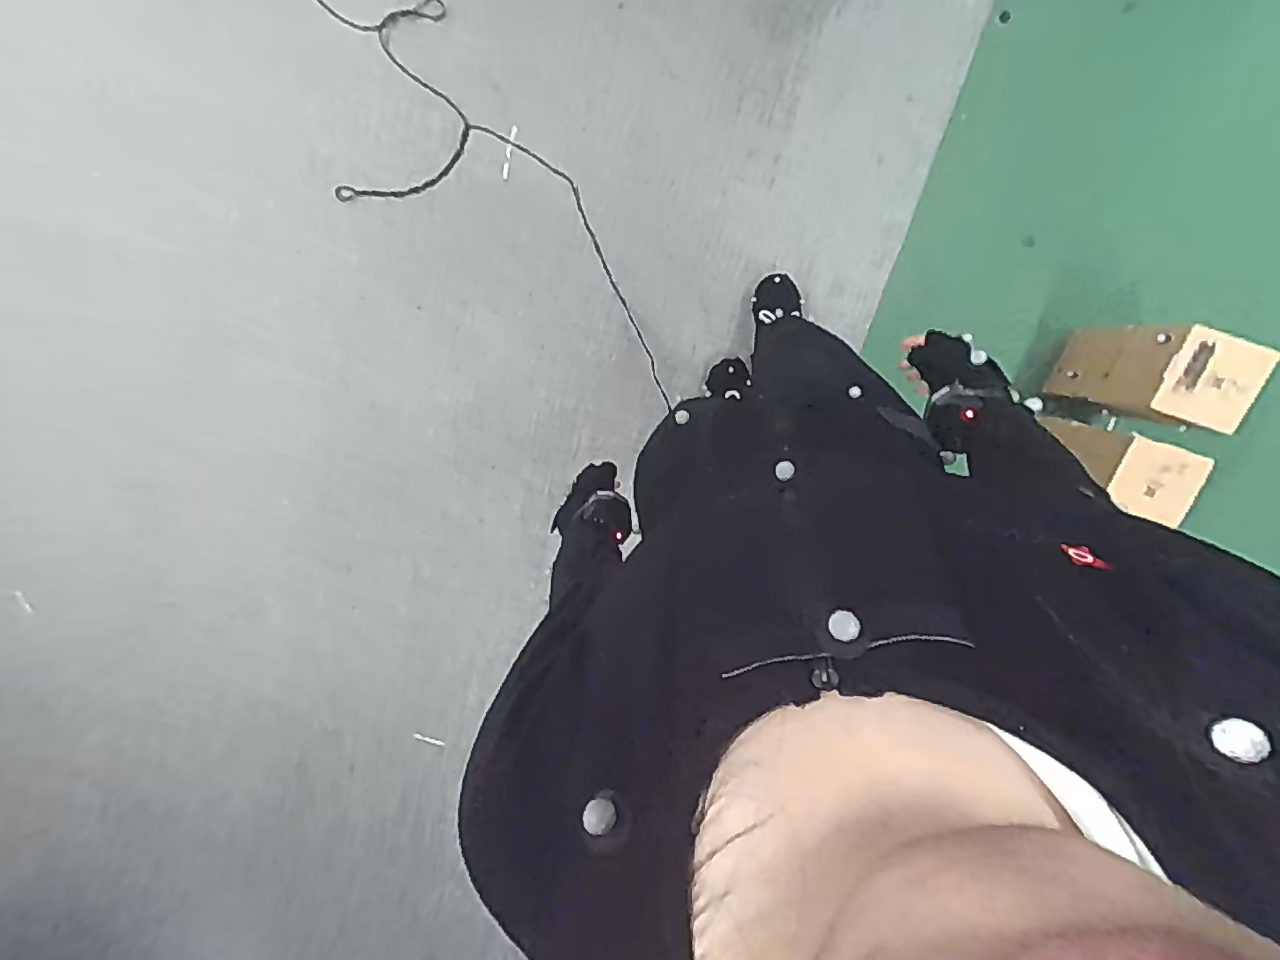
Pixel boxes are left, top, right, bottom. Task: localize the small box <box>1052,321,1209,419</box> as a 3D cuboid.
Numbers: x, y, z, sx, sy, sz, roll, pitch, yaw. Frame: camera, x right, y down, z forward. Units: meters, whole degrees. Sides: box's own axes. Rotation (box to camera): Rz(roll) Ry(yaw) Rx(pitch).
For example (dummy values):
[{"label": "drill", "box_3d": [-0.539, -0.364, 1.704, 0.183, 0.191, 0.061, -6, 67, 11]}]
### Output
[{"label": "small box", "box_3d": [1.120, -0.254, 1.255, 0.179, 0.176, 0.168, 21, 104, 1]}]
